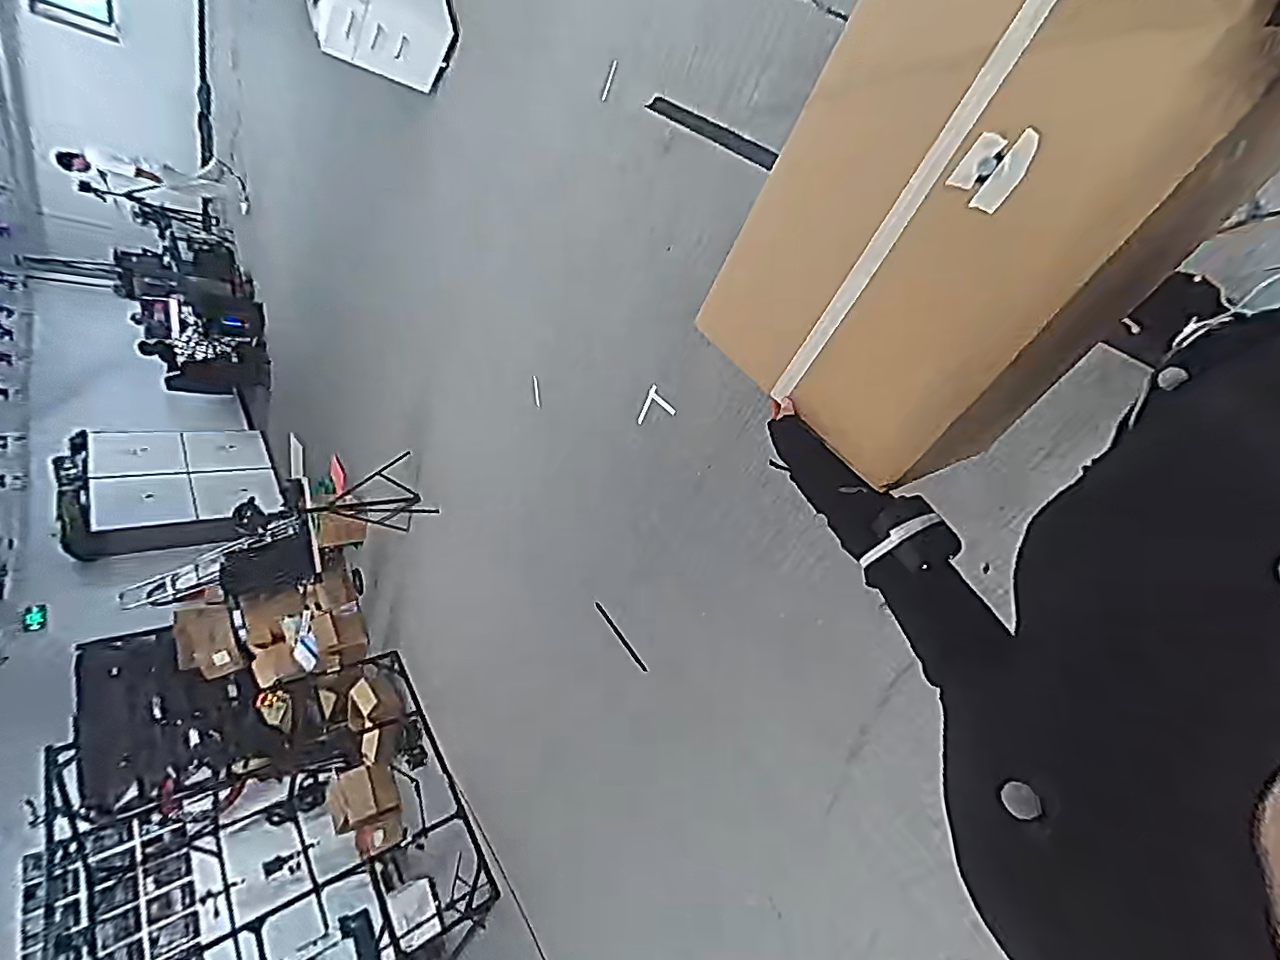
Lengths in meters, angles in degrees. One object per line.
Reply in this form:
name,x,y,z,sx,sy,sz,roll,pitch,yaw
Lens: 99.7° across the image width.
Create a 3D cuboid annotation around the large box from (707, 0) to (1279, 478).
large box,0.351,-0.263,0.601,0.320,0.320,0.408,50,130,26
